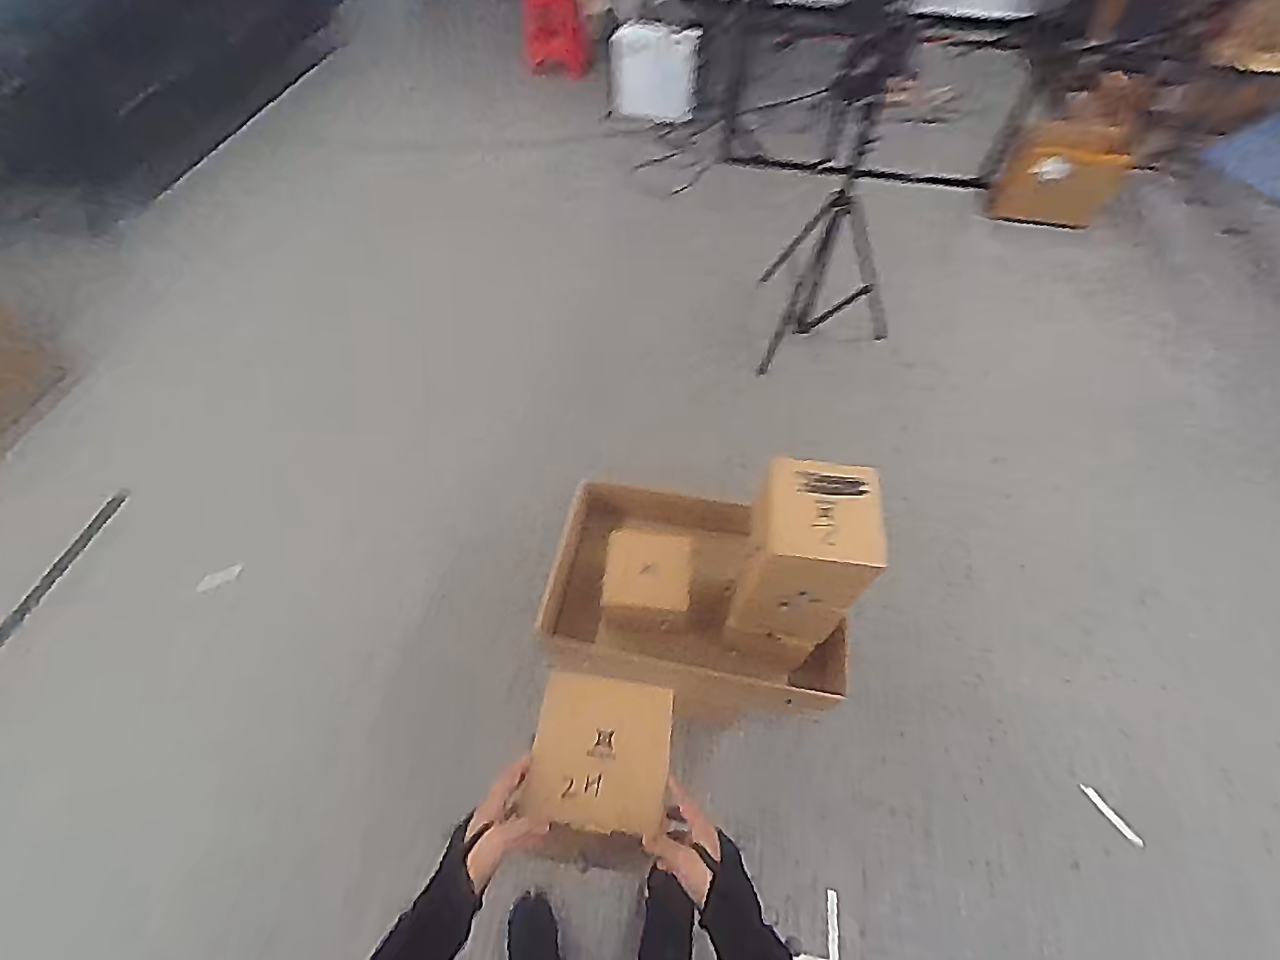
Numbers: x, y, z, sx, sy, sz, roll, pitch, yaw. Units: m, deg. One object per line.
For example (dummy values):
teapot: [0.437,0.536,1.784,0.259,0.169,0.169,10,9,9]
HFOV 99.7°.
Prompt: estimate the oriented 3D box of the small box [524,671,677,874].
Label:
small box: [-0.050,0.379,0.702,0.168,0.176,0.179,9,43,-1]

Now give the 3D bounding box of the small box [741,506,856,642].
small box: [0.291,0.178,1.010,0.168,0.176,0.179,13,57,8]
